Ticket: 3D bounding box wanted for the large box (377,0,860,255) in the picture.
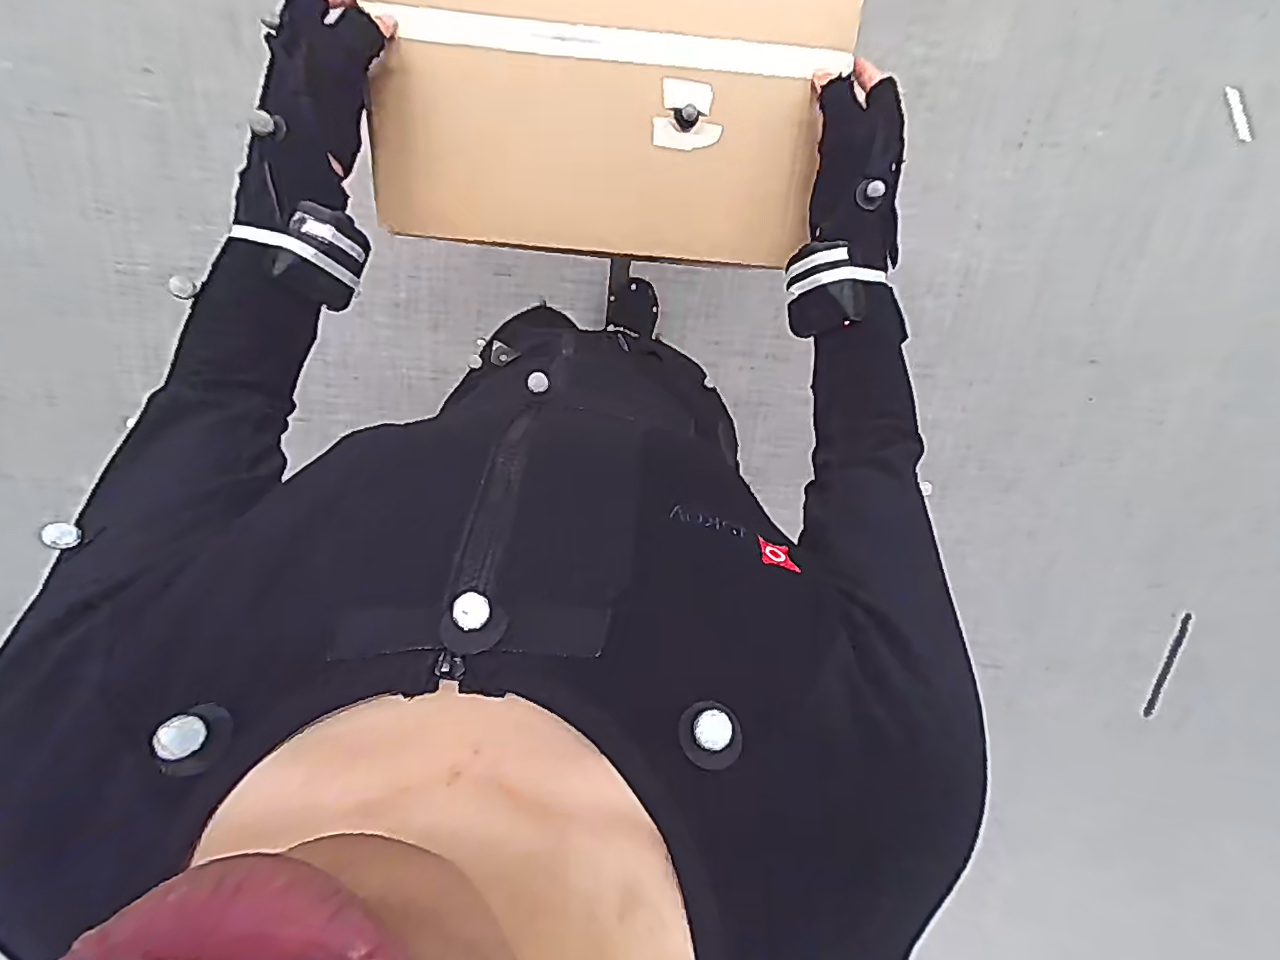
[{"bbox_3d":[-0.024,-0.425,0.589,0.408,0.320,0.320,3,112,-4],"label":"large box"}]
